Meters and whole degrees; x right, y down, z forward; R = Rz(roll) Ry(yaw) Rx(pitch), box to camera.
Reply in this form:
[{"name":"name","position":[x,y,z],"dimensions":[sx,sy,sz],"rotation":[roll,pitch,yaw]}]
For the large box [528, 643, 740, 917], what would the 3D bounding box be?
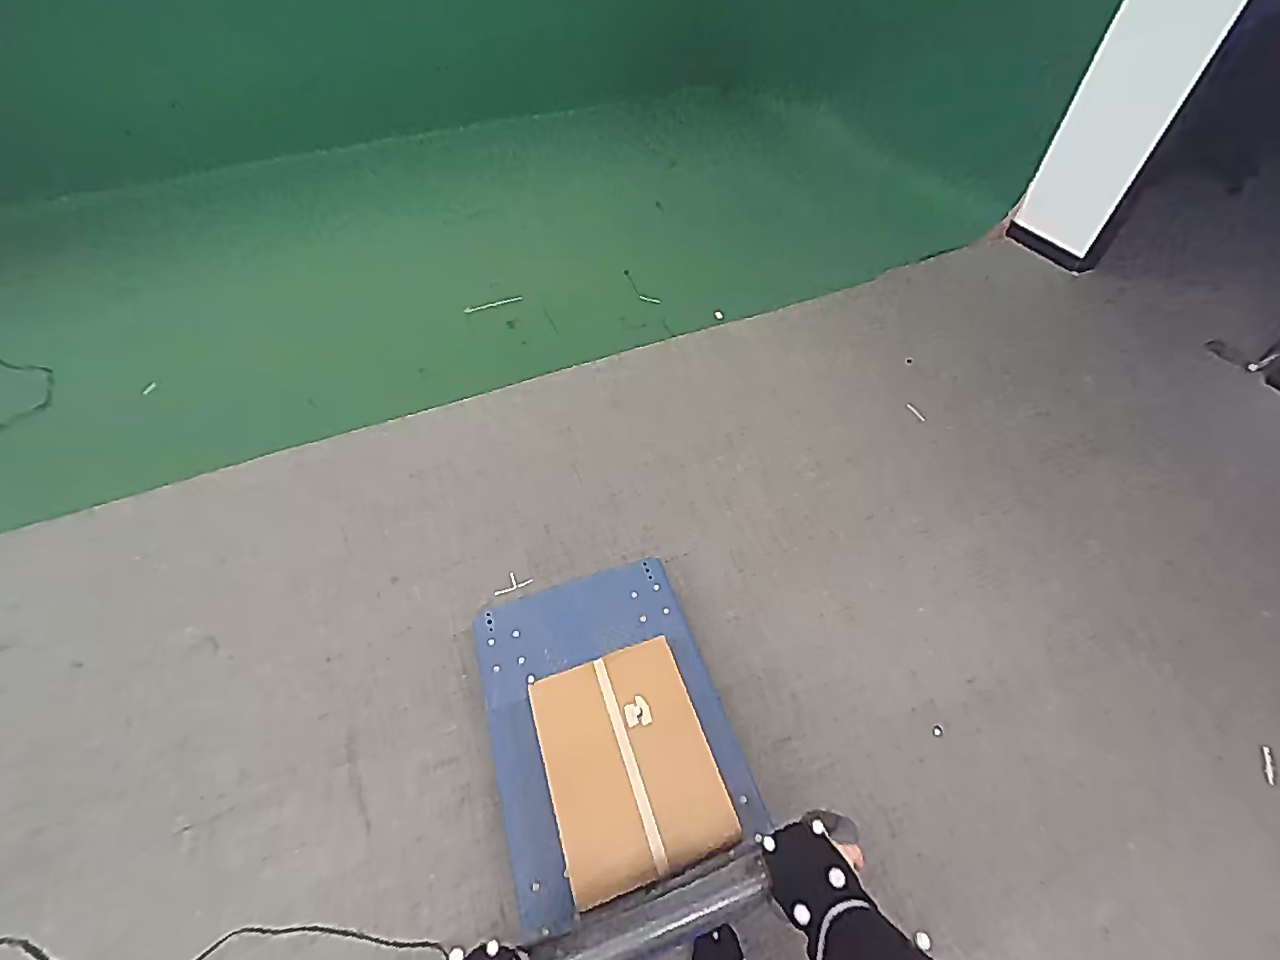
[{"name":"large box","position":[-0.020,0.641,1.170],"dimensions":[0.320,0.320,0.408],"rotation":[-16,51,-11]}]
